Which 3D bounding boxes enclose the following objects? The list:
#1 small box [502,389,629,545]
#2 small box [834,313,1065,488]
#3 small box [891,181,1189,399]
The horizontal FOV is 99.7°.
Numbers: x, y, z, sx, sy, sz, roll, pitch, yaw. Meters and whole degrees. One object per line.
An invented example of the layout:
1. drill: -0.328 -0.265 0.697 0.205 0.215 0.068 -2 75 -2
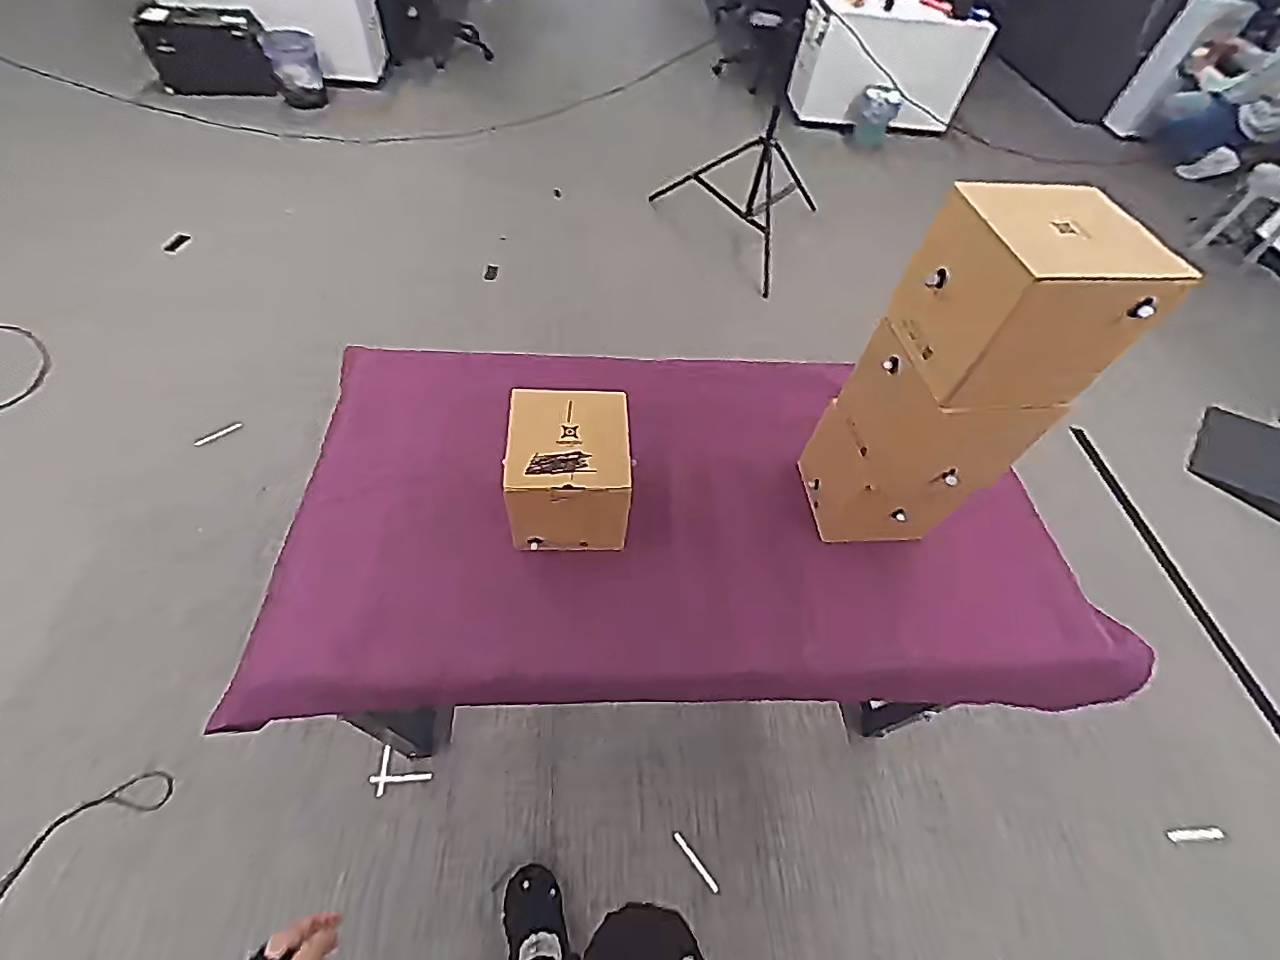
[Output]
1. small box: -0.105 -0.014 0.803 0.168 0.176 0.179 0 54 -7
2. small box: 0.394 -0.103 0.724 0.179 0.176 0.168 -4 55 -10
3. small box: 0.407 -0.203 0.596 0.179 0.176 0.168 -4 55 -9
